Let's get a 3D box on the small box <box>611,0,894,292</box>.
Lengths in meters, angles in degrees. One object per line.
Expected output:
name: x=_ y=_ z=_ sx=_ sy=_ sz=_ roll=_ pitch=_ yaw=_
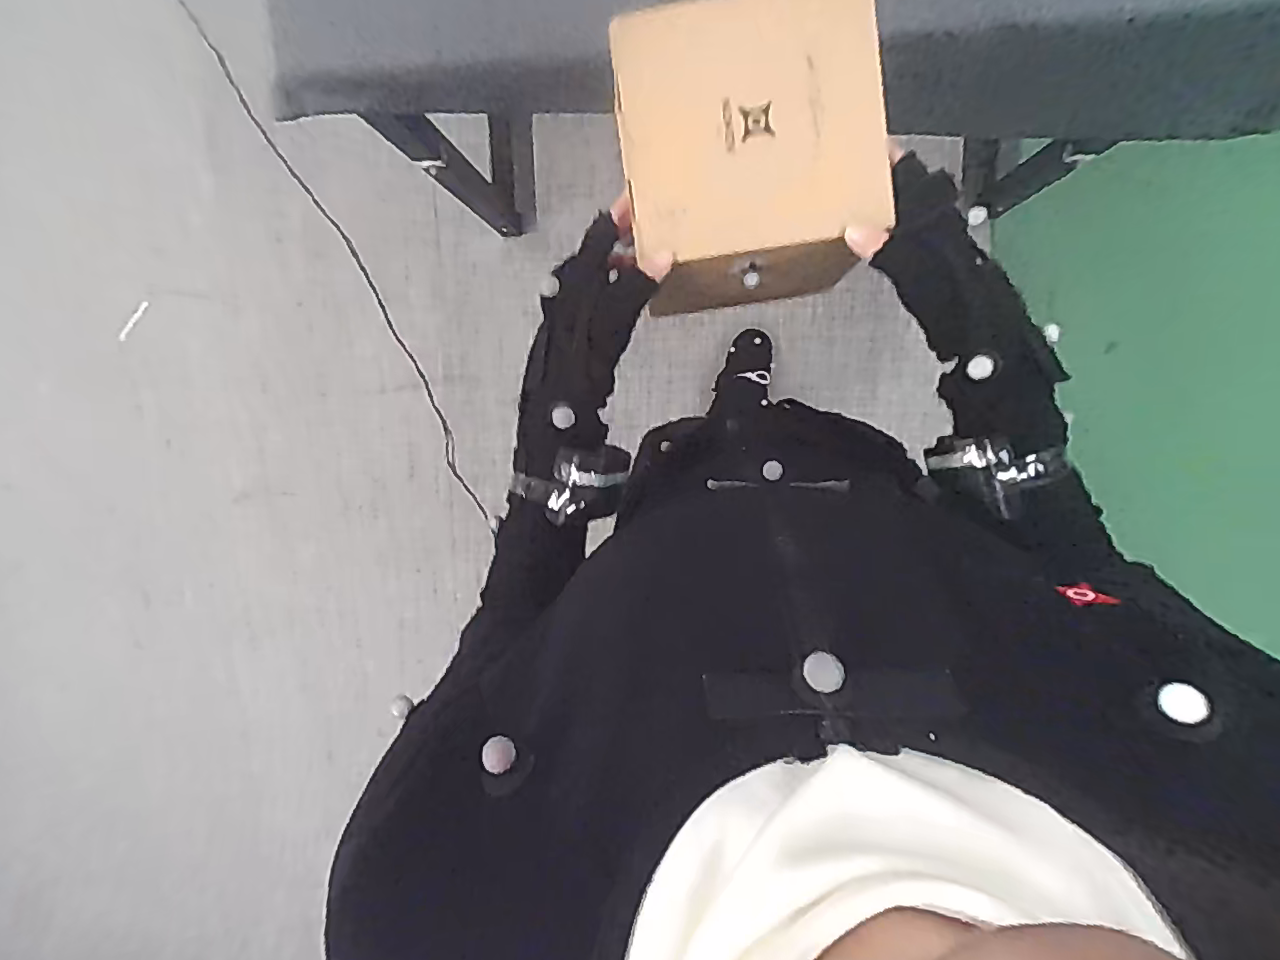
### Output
small box: x=0.081 y=-0.266 z=0.445 sx=0.179 sy=0.176 sz=0.168 roll=-8 pitch=95 yaw=3
